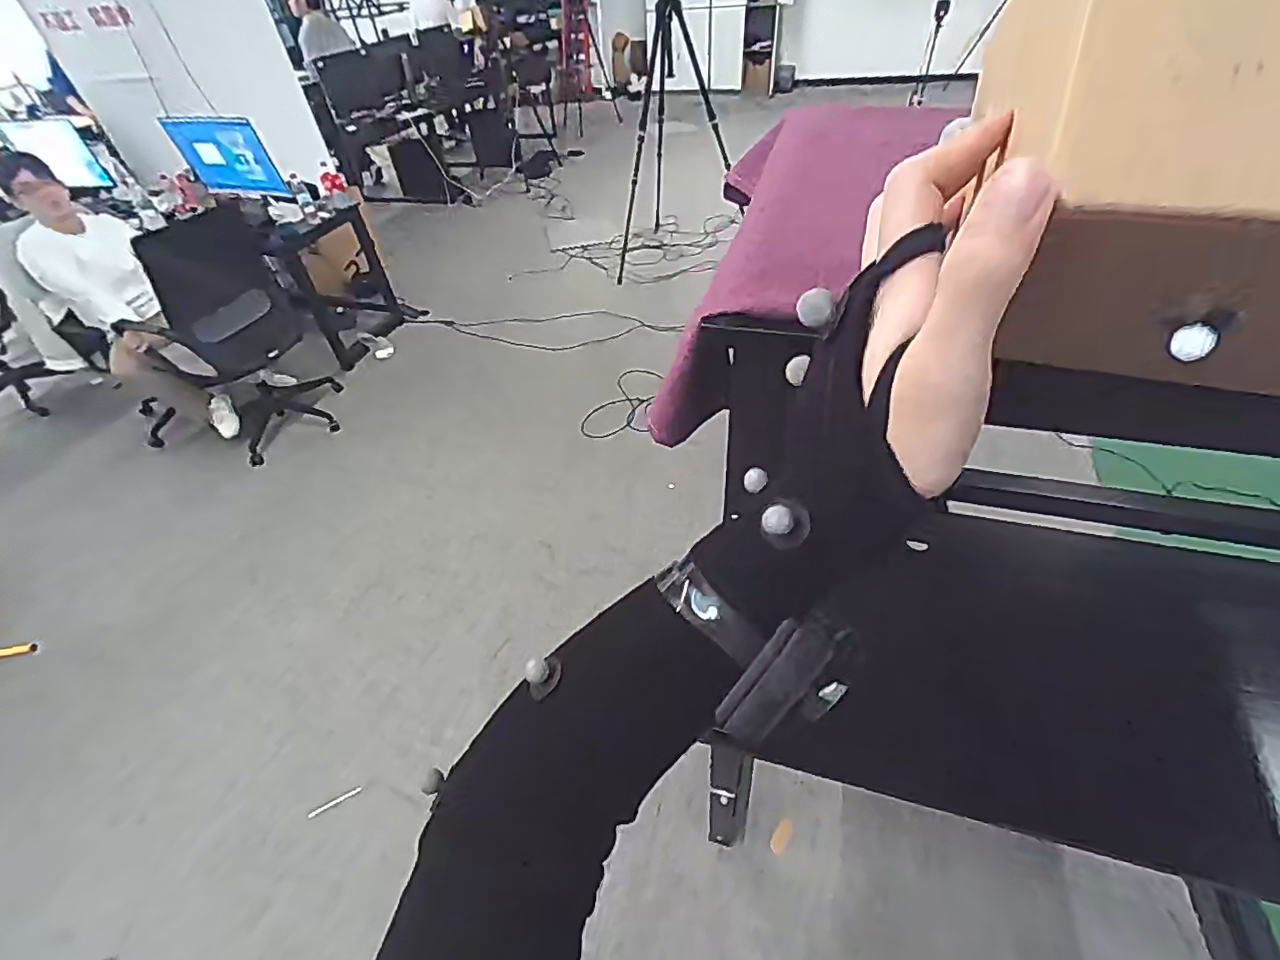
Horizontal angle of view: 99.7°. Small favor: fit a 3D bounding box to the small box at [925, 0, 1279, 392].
[{"bbox_3d":[0.231,-0.133,0.200,0.179,0.168,0.176,13,4,18],"label":"small box"}]
